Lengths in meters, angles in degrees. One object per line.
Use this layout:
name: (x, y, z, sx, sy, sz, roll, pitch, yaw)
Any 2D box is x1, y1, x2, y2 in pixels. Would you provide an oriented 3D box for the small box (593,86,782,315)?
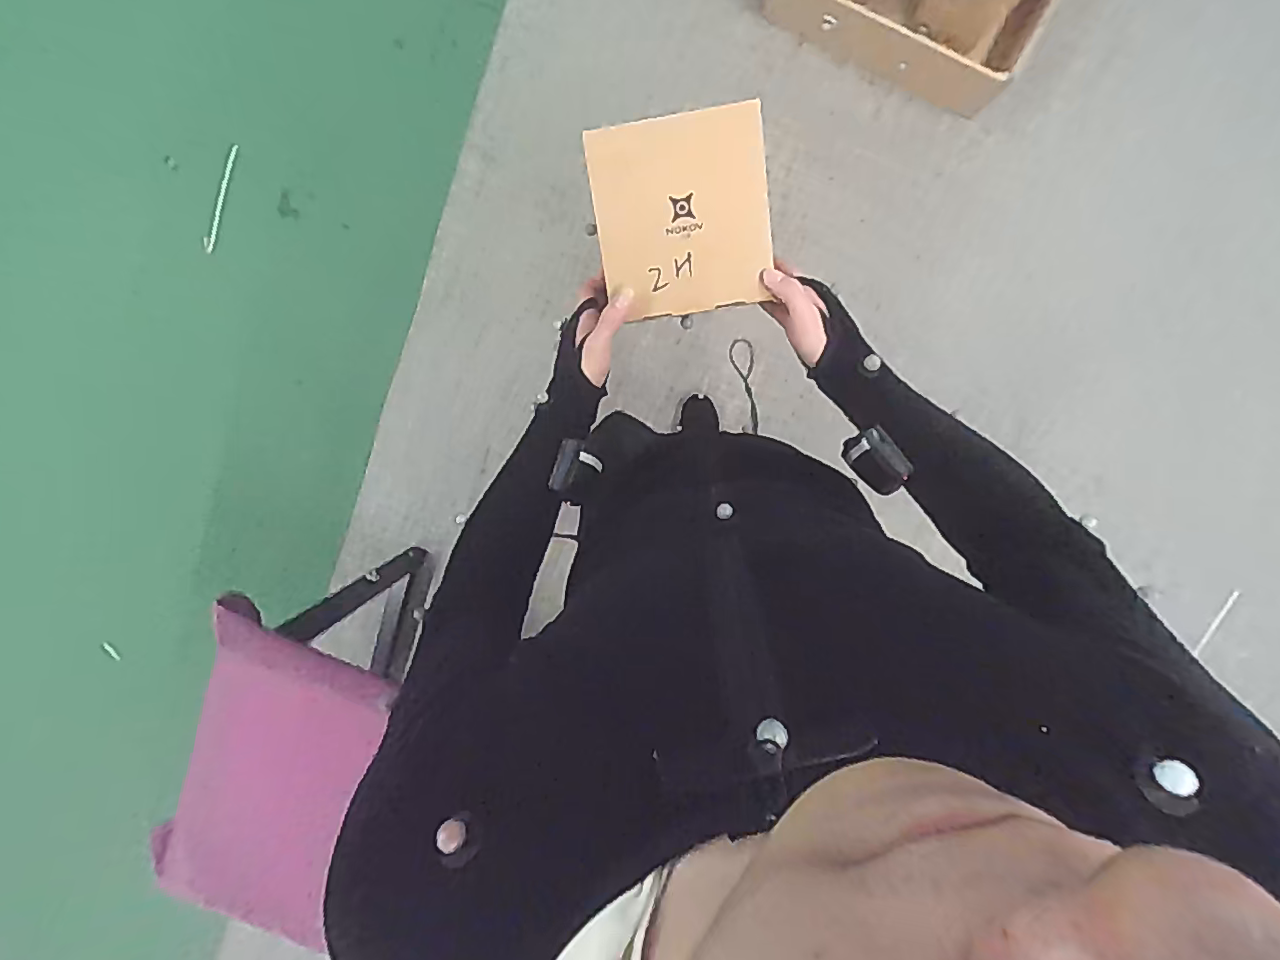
small box: (0.049, -0.278, 0.579, 0.168, 0.176, 0.179, -6, 106, 4)
